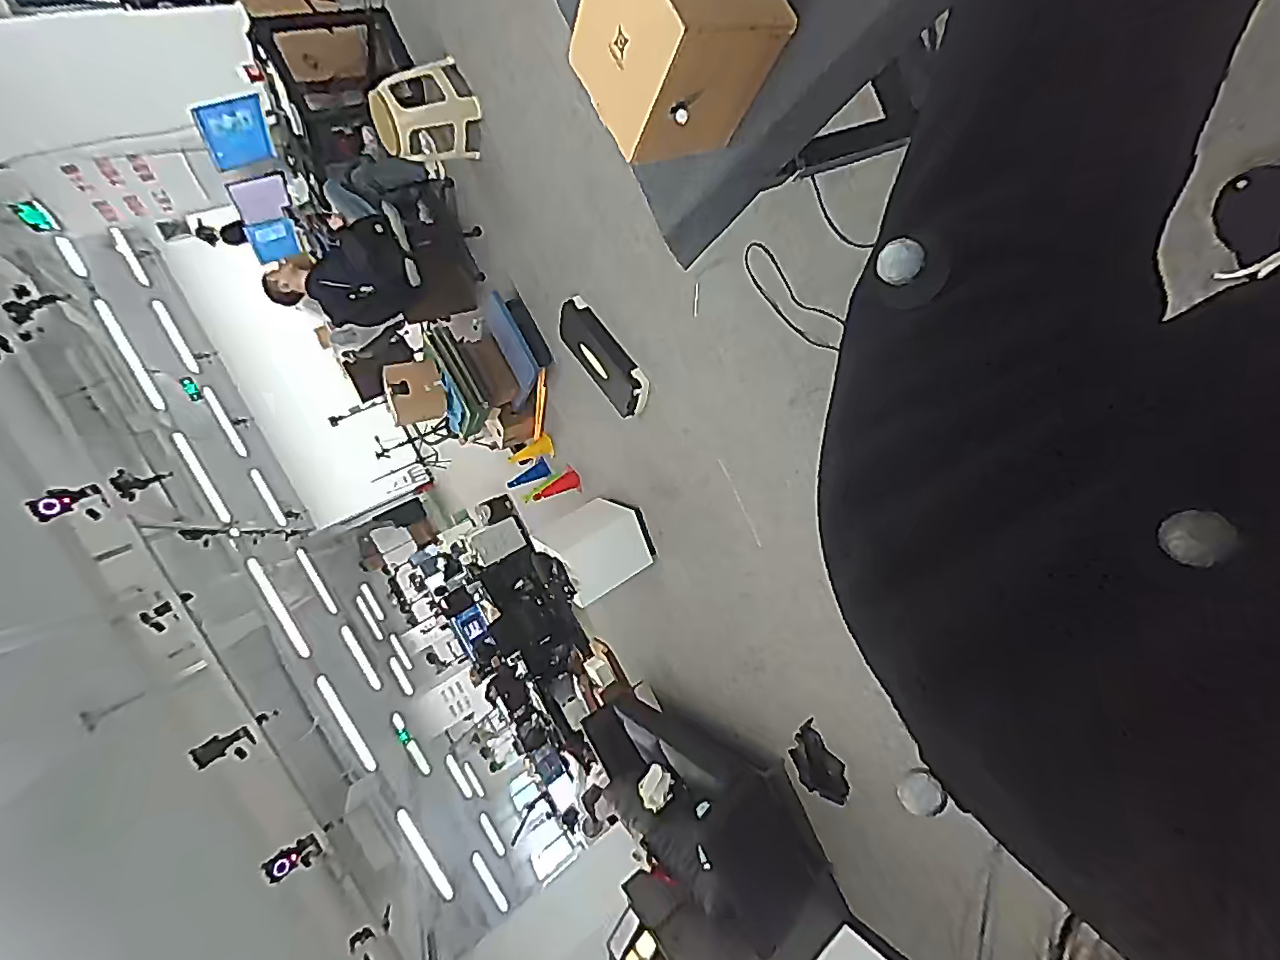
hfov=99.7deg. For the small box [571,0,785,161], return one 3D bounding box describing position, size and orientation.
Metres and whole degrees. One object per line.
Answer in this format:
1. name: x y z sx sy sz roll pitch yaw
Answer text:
1. small box: 0.045 -0.526 0.641 0.168 0.176 0.179 61 156 4
